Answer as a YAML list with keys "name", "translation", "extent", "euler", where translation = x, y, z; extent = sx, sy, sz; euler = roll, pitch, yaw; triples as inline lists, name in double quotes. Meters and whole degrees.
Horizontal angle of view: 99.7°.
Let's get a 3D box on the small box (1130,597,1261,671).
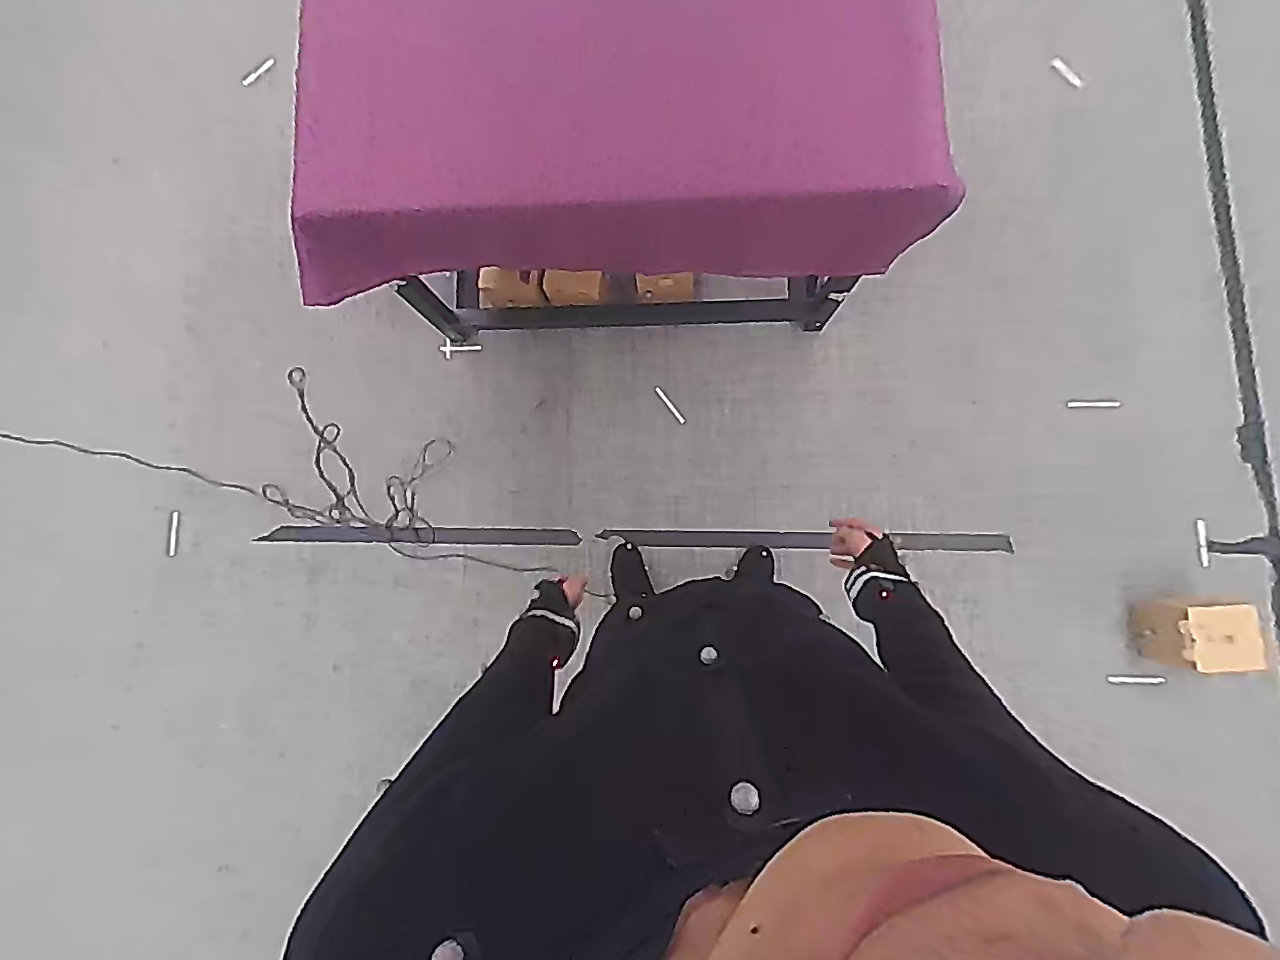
- name: "small box"
  translation: [1.499, 0.412, 1.469]
  extent: [0.179, 0.176, 0.168]
  euler: [-4, 84, 3]
